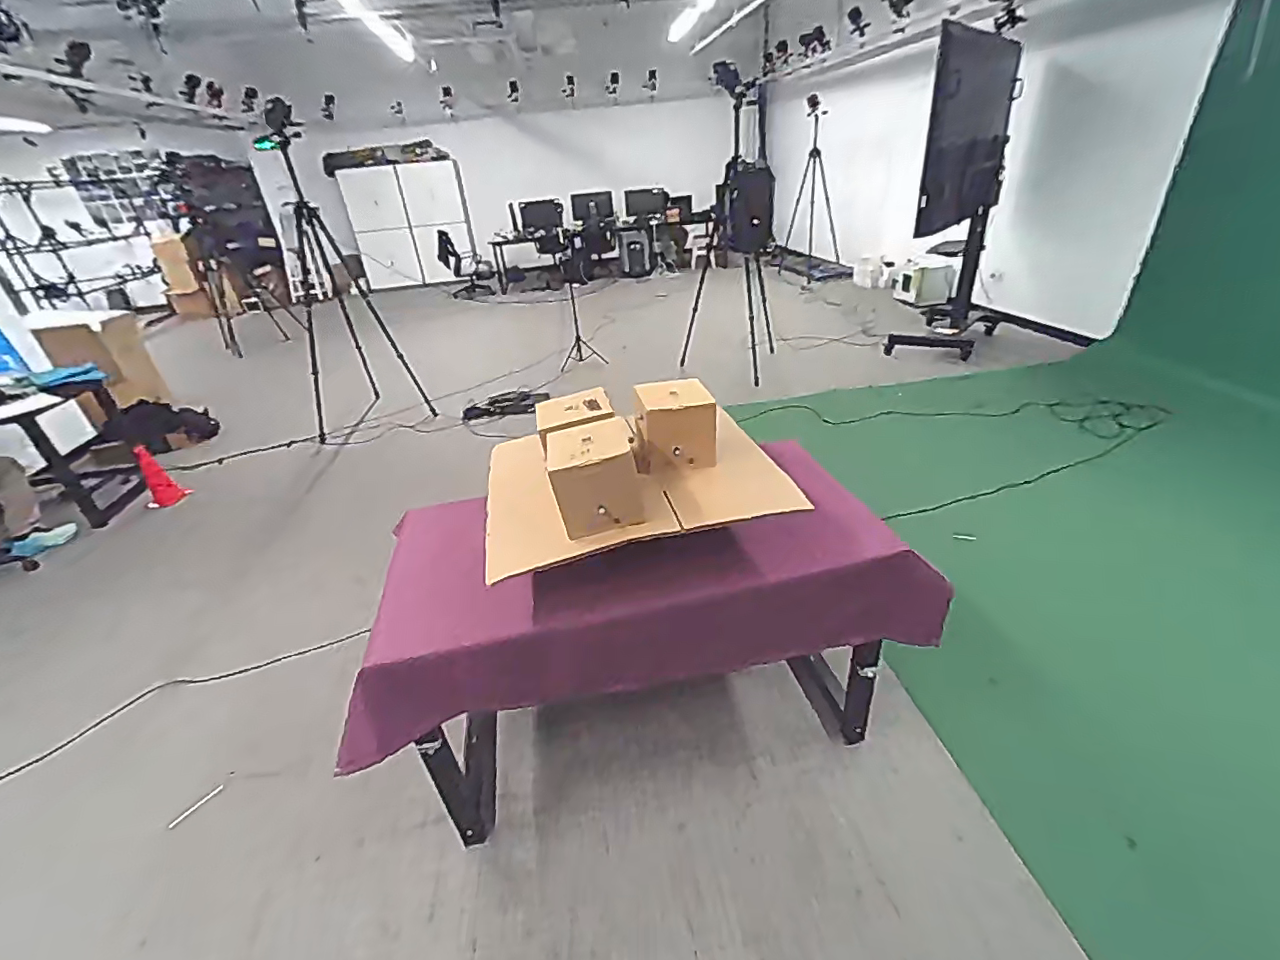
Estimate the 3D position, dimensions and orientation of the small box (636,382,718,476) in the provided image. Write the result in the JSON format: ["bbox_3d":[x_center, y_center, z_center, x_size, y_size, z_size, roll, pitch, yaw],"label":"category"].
[{"bbox_3d":[0.086,-0.127,1.331,0.168,0.176,0.179,-8,31,-8],"label":"small box"}]
